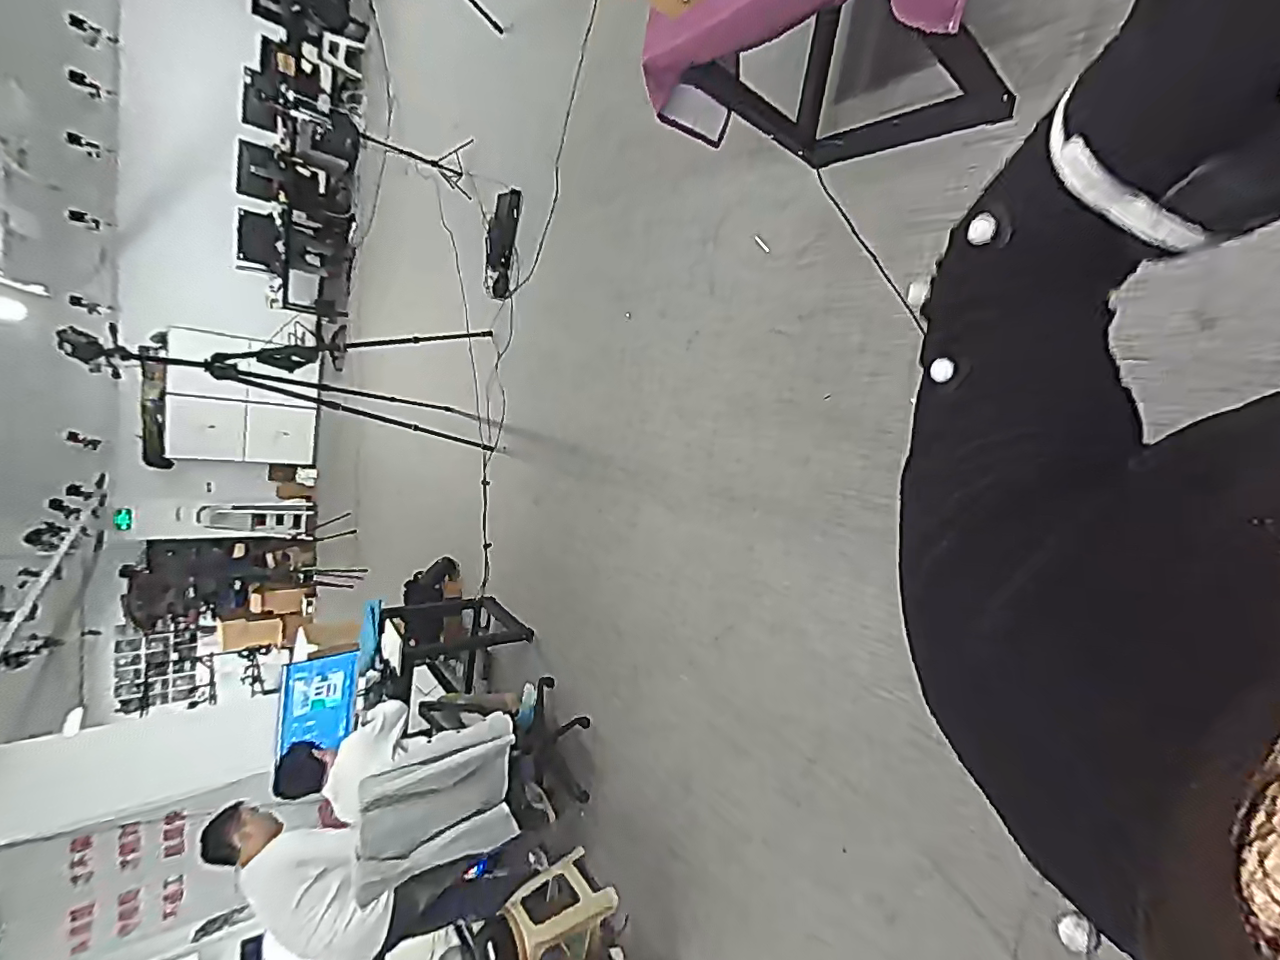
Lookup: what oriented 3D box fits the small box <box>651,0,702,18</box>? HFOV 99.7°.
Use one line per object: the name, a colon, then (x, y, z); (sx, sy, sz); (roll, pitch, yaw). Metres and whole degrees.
small box: (0.084, -1.130, 1.125); (0.179, 0.176, 0.168); (12, 97, 49)
